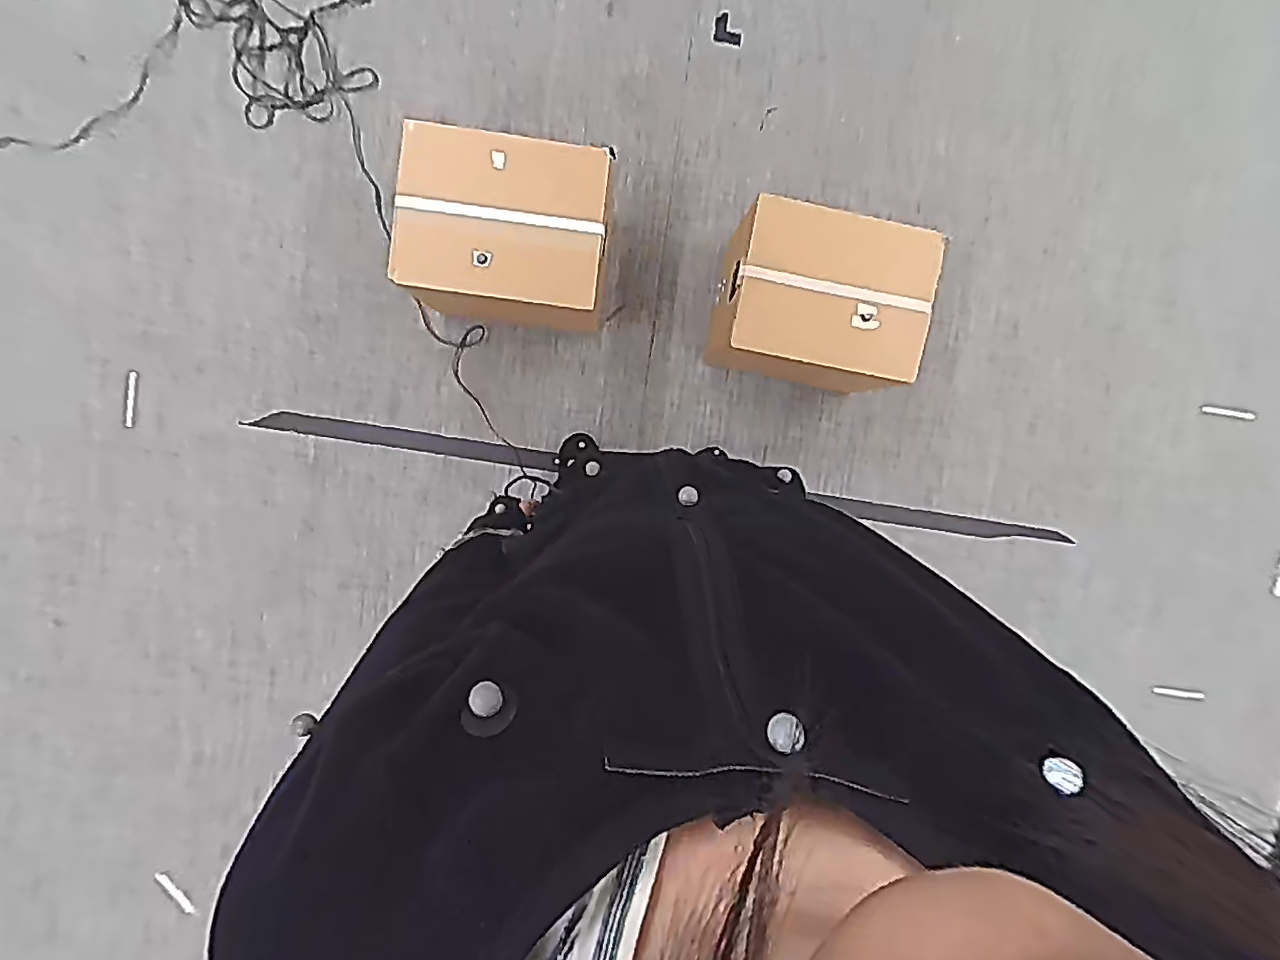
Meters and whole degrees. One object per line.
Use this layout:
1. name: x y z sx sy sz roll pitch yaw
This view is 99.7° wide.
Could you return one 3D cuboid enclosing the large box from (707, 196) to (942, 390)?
1. large box: 0.399 -0.409 1.268 0.408 0.320 0.320 11 95 -5
